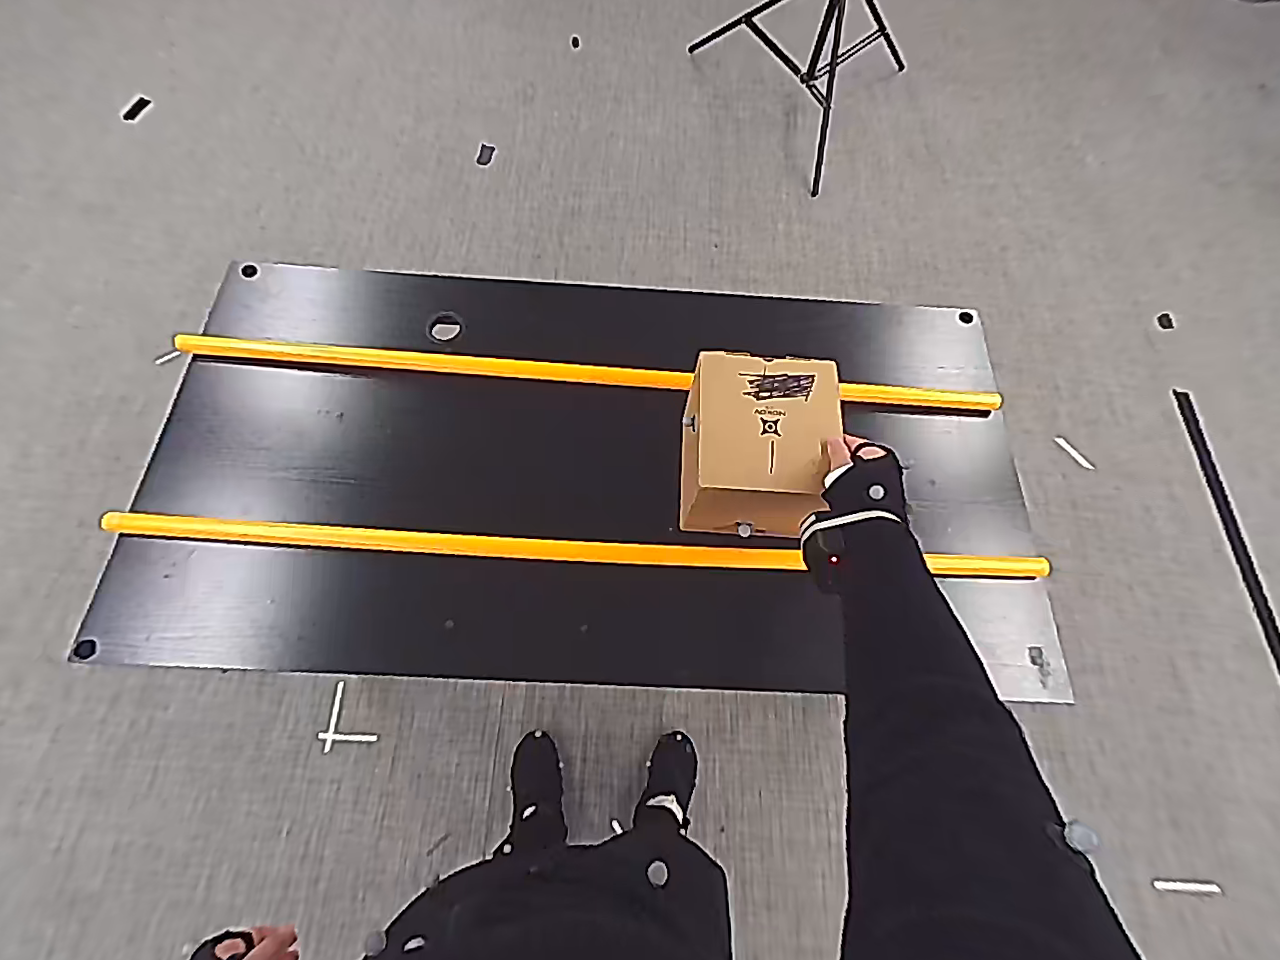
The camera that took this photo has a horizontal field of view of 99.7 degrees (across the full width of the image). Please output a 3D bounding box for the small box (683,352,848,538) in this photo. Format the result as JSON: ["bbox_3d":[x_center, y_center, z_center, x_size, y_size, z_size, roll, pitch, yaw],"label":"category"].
[{"bbox_3d":[0.147,-0.038,0.691,0.168,0.176,0.179,4,69,-1],"label":"small box"}]
